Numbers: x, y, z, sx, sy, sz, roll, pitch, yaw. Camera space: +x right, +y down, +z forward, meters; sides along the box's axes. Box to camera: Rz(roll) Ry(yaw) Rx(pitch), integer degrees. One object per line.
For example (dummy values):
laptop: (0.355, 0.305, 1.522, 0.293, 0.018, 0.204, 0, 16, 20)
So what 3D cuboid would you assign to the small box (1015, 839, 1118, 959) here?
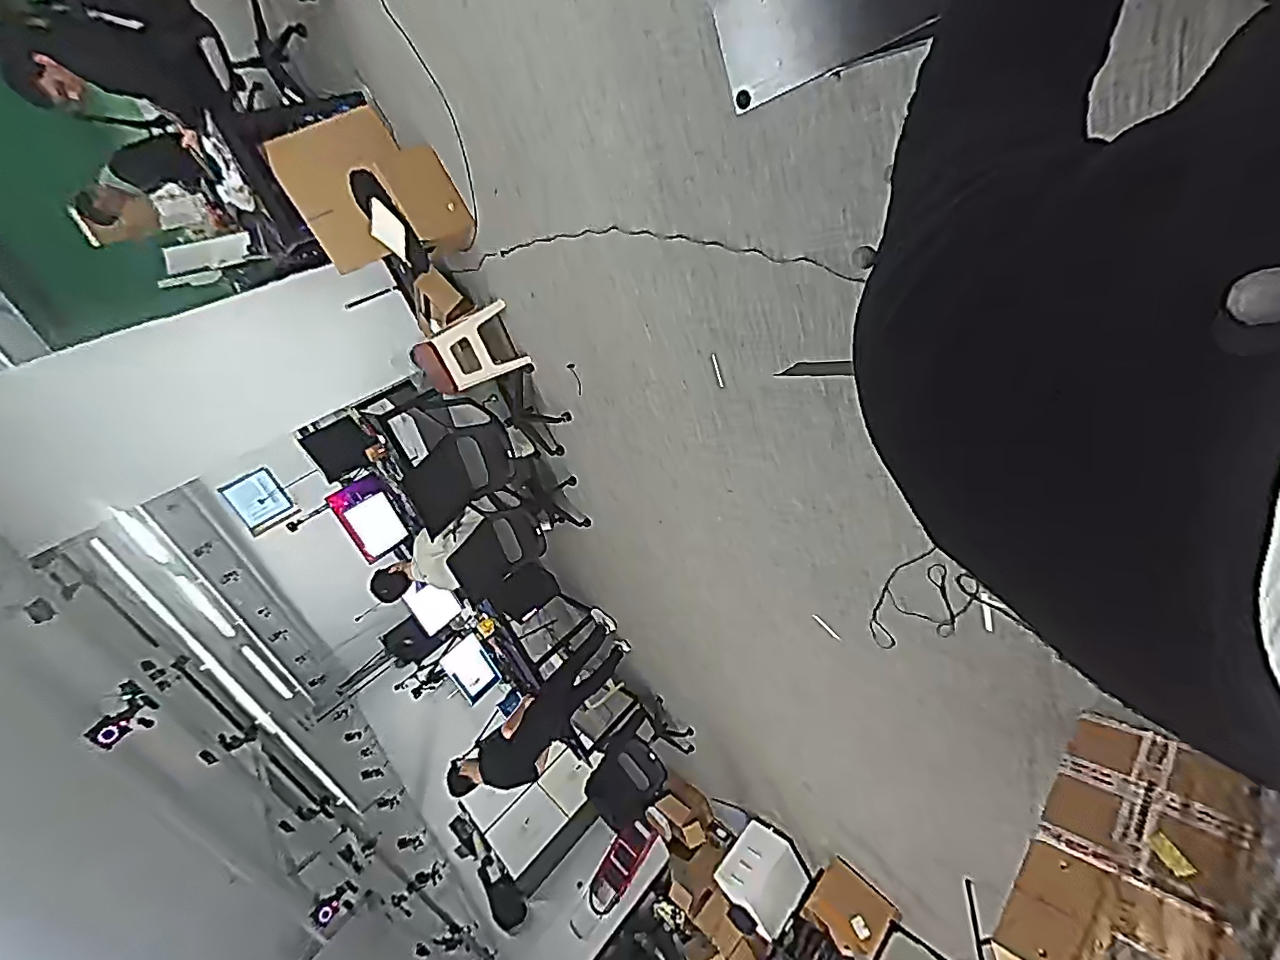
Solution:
small box: (1.175, 1.142, 1.490, 0.179, 0.176, 0.168, 2, 120, 54)

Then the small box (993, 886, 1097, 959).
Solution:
small box: (1.055, 1.216, 1.402, 0.179, 0.176, 0.168, 2, 120, 54)
